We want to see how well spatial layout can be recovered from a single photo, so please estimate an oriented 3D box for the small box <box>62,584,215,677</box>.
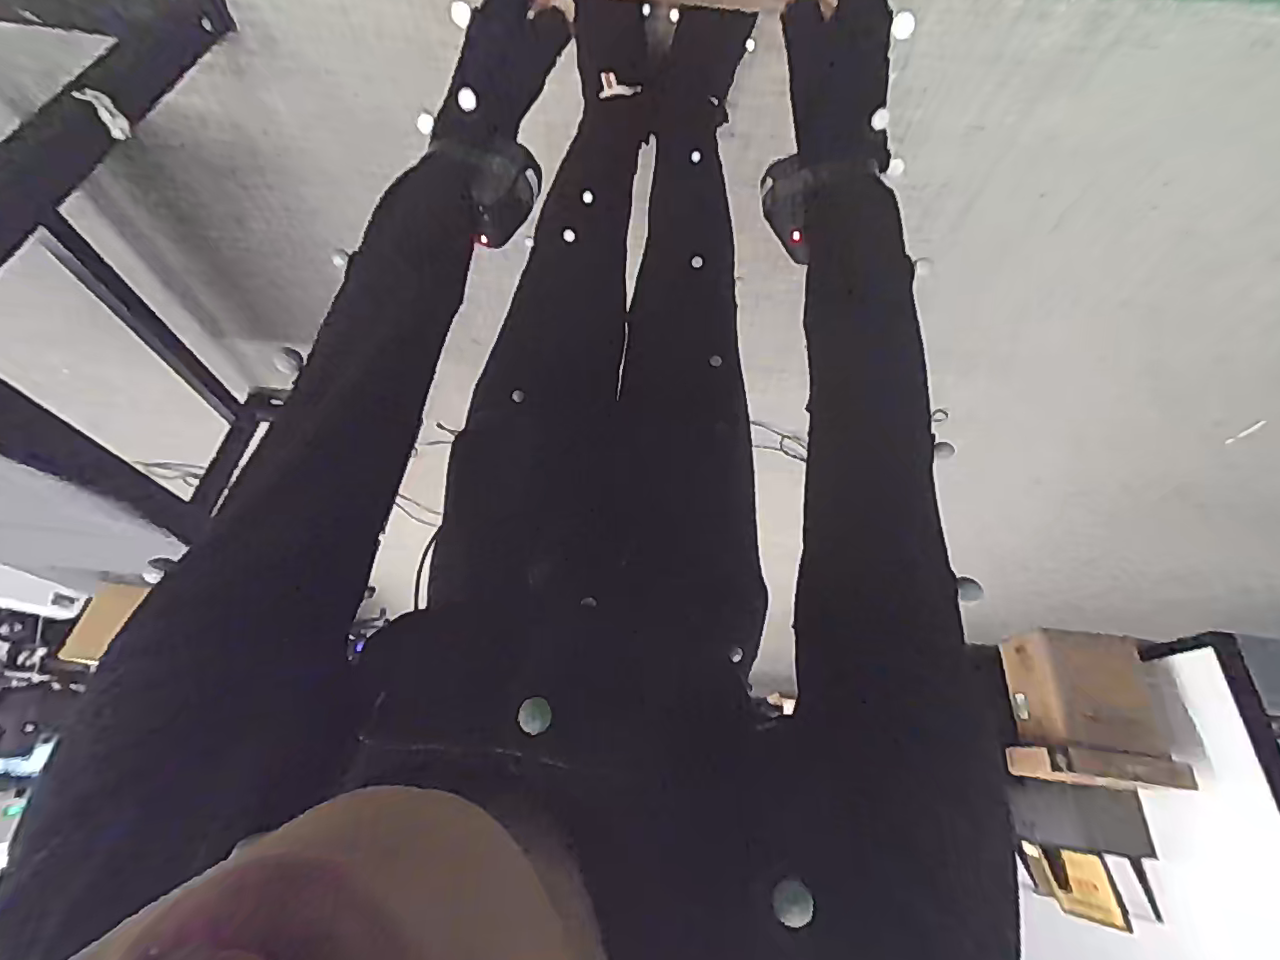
[{"bbox_3d":[-1.132,0.347,1.246,0.179,0.176,0.168,8,151,-1],"label":"small box"}]
